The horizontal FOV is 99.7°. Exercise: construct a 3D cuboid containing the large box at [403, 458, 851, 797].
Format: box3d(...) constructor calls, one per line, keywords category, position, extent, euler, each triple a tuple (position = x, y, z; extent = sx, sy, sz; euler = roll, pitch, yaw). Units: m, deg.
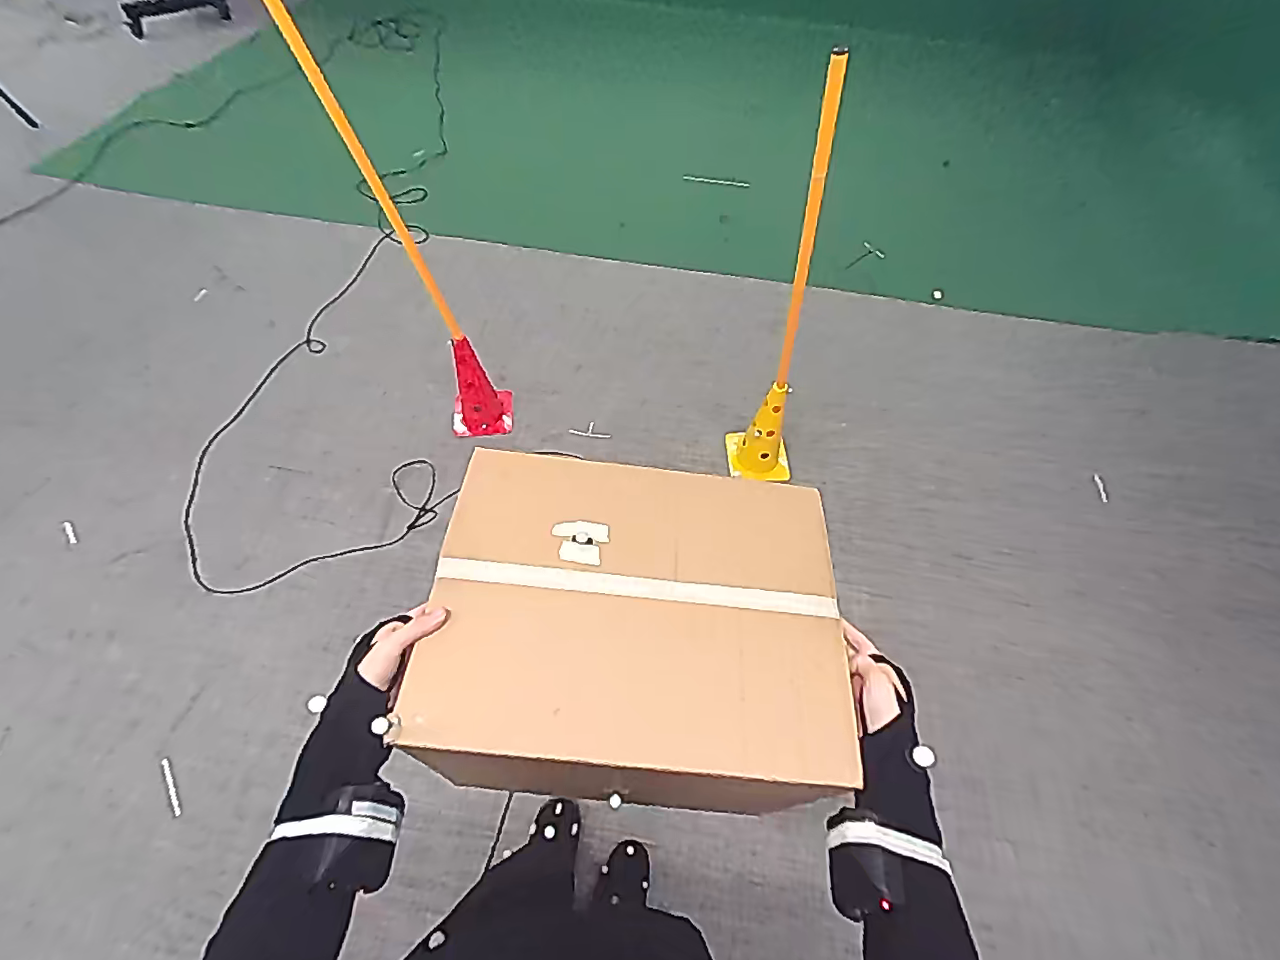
box3d(category="large box", position=(-0.010, 0.200, 0.679), extent=(0.408, 0.320, 0.320), euler=(6, 53, -2))
